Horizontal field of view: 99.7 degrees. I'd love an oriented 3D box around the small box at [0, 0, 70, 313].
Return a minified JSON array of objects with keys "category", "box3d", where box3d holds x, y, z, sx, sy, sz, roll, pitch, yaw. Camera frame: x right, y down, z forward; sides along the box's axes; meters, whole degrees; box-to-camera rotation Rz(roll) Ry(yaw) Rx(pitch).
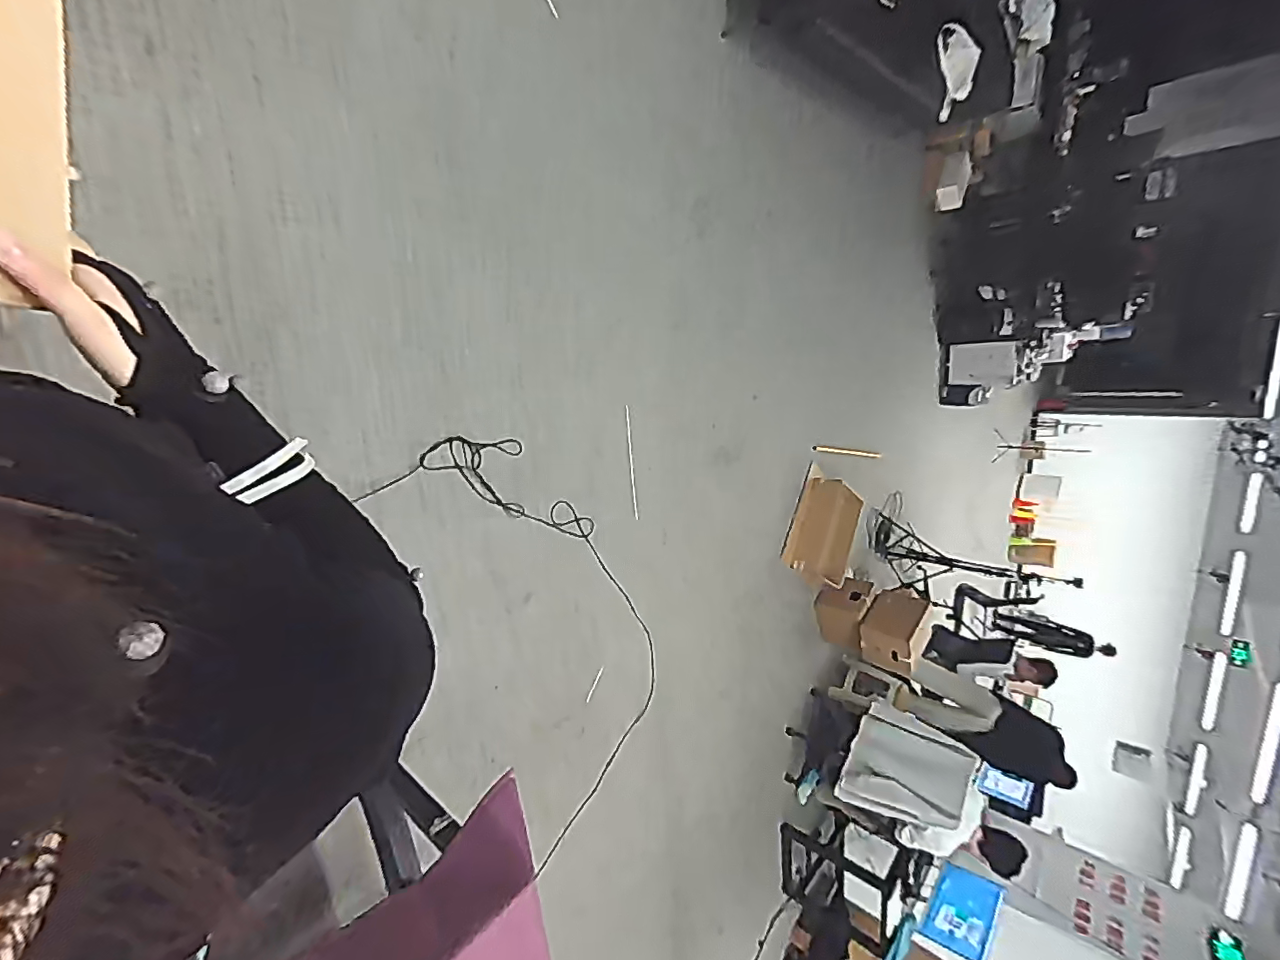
[{"category":"small box","box3d":[-0.437,-0.202,0.283,0.168,0.176,0.179,-9,115,-57]}]
